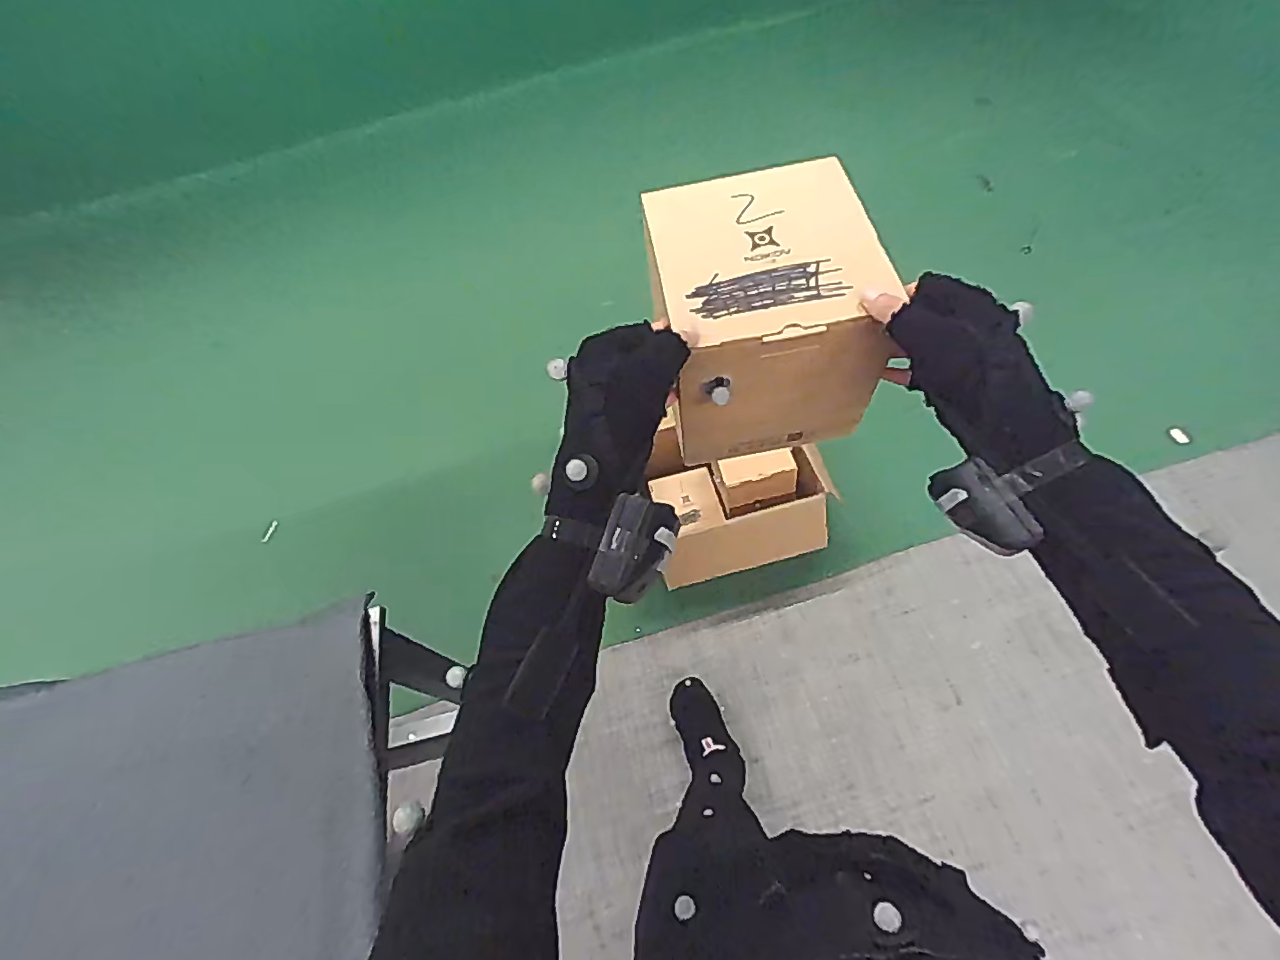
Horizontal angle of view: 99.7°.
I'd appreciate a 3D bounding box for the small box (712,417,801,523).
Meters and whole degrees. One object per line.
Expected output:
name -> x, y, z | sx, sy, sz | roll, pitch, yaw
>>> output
small box -> 0.281, -0.020, 1.325 | 0.168, 0.176, 0.179 | -16, 56, 3
